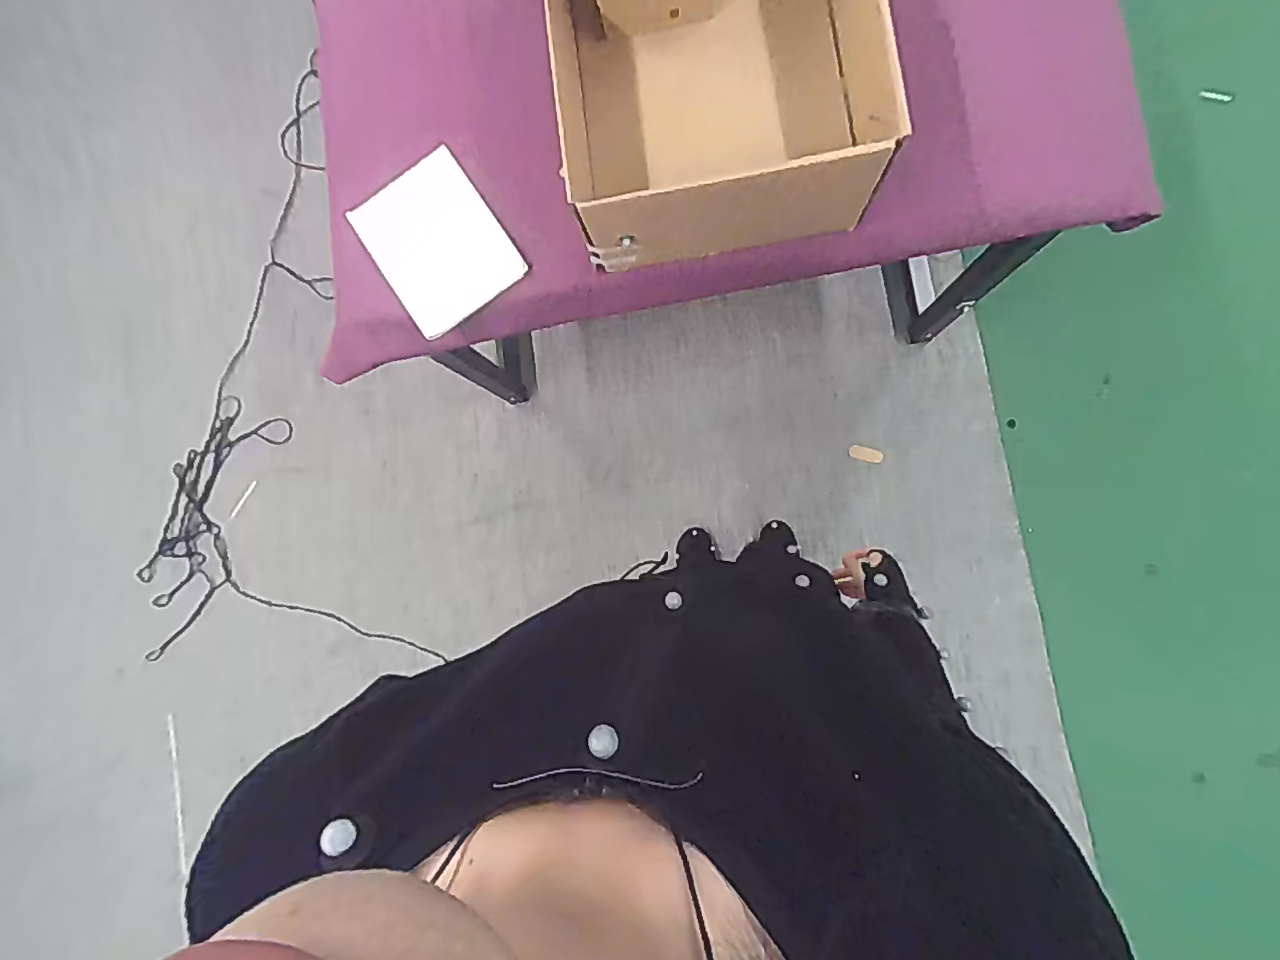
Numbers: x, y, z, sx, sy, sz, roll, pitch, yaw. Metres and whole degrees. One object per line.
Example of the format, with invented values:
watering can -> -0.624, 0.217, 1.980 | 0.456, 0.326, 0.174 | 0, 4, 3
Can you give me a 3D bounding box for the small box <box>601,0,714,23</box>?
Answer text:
small box -> 0.012, -0.757, 0.715 | 0.168, 0.176, 0.179 | -7, 87, 7
